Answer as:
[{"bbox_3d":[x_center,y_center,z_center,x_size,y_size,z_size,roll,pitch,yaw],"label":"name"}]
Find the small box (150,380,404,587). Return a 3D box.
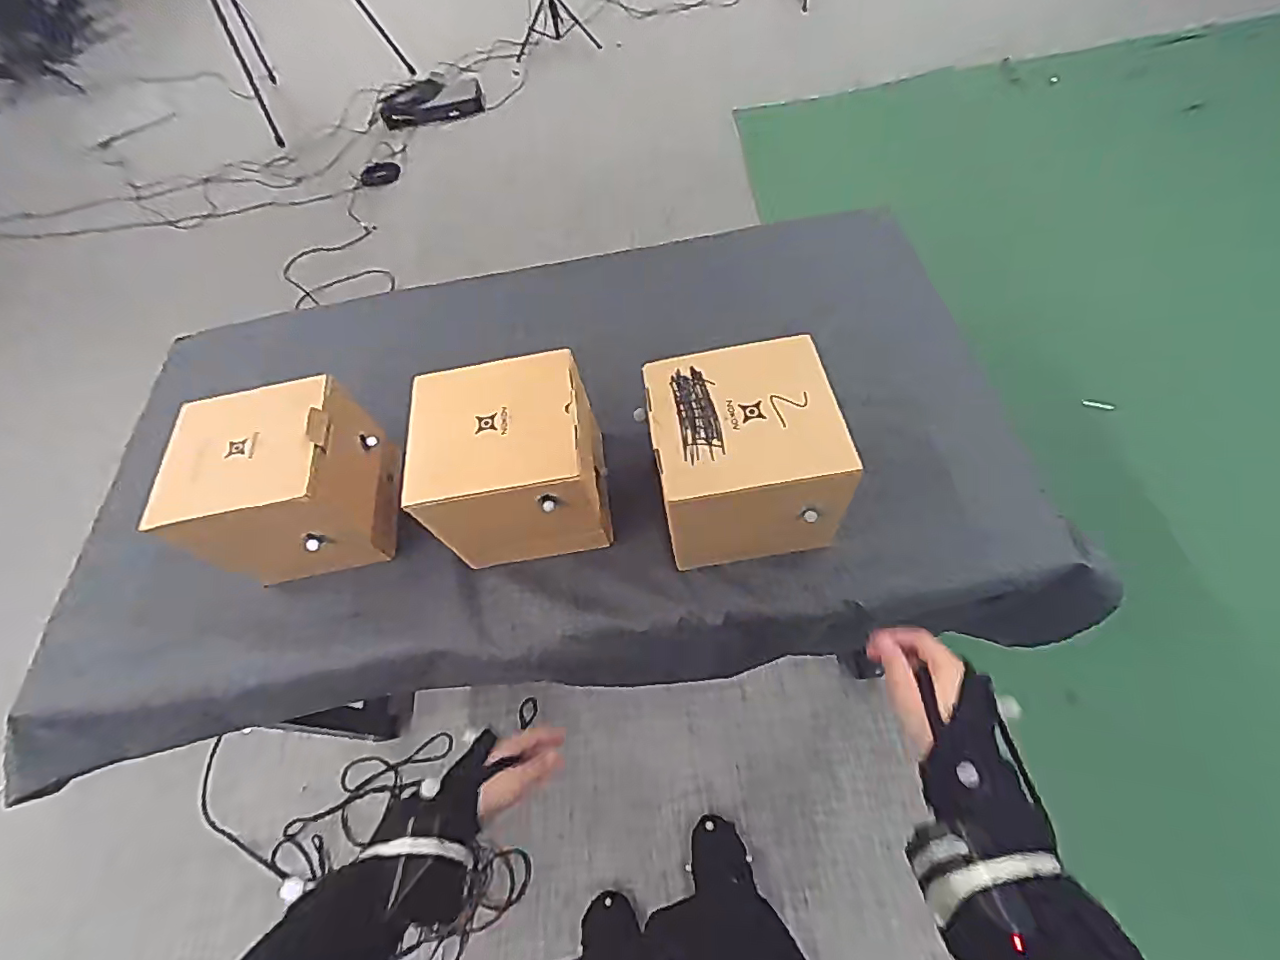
[{"bbox_3d":[-0.406,0.011,0.645,0.179,0.176,0.168,-13,58,2],"label":"small box"}]

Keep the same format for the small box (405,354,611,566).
[{"bbox_3d":[-0.138,-0.014,0.619,0.179,0.176,0.168,-10,59,2],"label":"small box"}]
